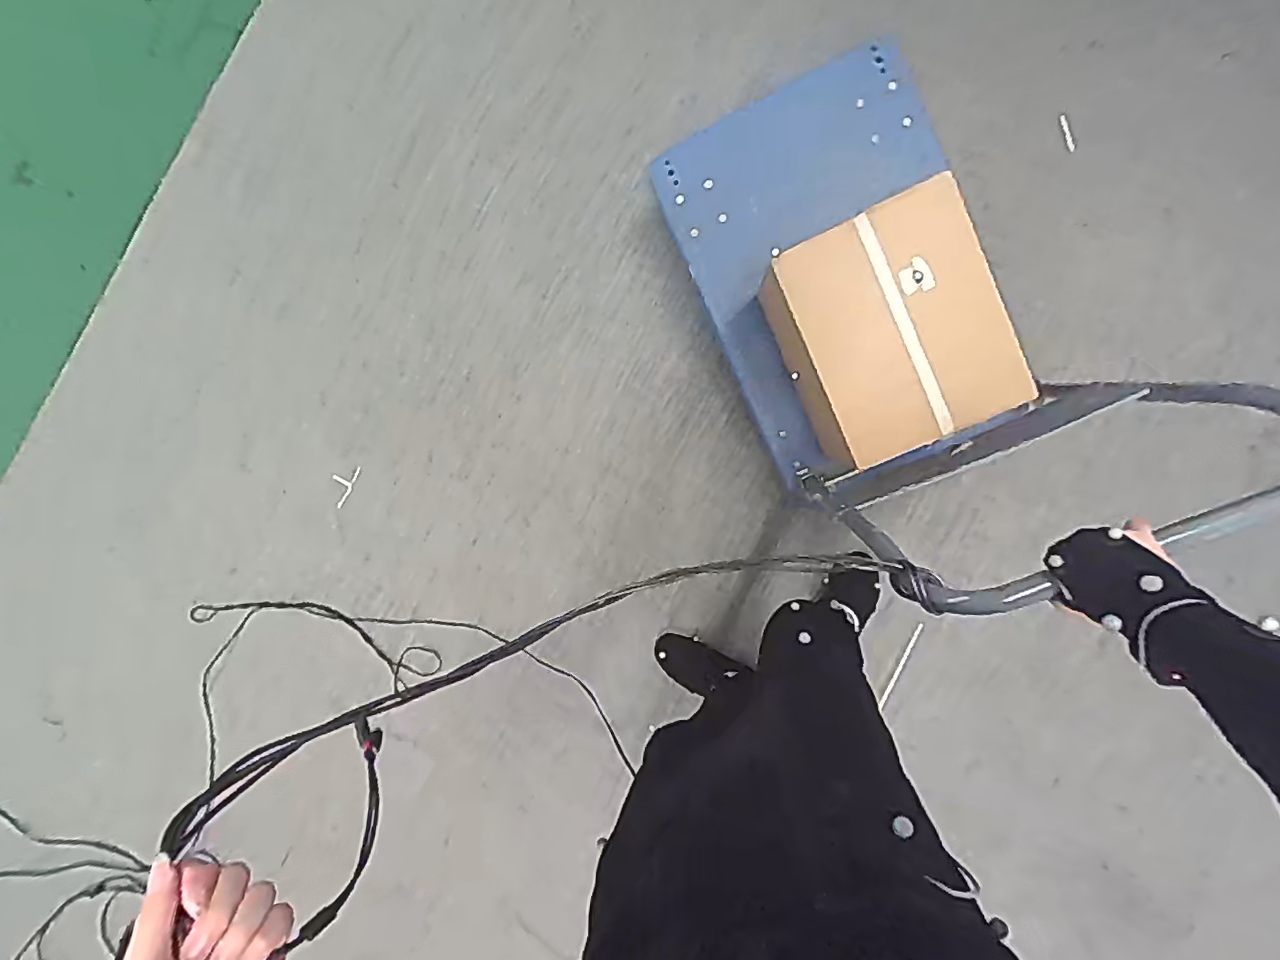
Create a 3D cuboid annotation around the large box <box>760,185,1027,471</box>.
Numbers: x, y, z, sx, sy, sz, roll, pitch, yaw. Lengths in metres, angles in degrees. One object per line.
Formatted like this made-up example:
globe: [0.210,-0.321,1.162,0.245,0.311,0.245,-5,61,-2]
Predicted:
large box: [0.462,-0.268,1.070,0.320,0.320,0.408,-22,93,9]
